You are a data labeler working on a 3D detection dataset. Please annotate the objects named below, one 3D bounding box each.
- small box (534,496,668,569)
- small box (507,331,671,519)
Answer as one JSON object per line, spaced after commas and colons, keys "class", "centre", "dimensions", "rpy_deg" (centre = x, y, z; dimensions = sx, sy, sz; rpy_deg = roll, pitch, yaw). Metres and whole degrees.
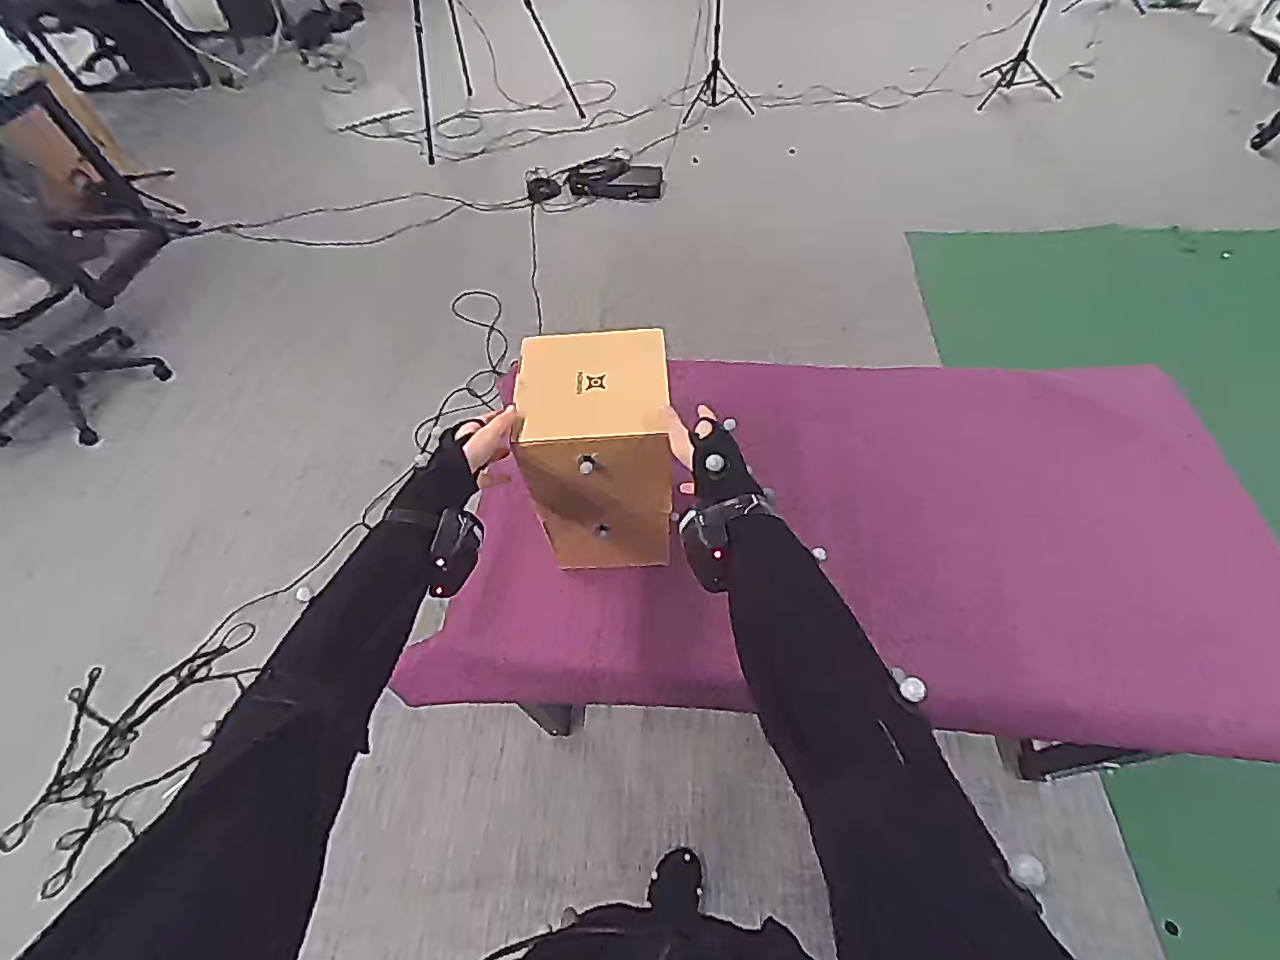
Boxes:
{"class": "small box", "centre": [-0.048, 0.026, 0.813], "dimensions": [0.179, 0.176, 0.168], "rpy_deg": [-2, 56, 2]}
{"class": "small box", "centre": [-0.052, -0.063, 0.678], "dimensions": [0.179, 0.176, 0.168], "rpy_deg": [-4, 56, 2]}
